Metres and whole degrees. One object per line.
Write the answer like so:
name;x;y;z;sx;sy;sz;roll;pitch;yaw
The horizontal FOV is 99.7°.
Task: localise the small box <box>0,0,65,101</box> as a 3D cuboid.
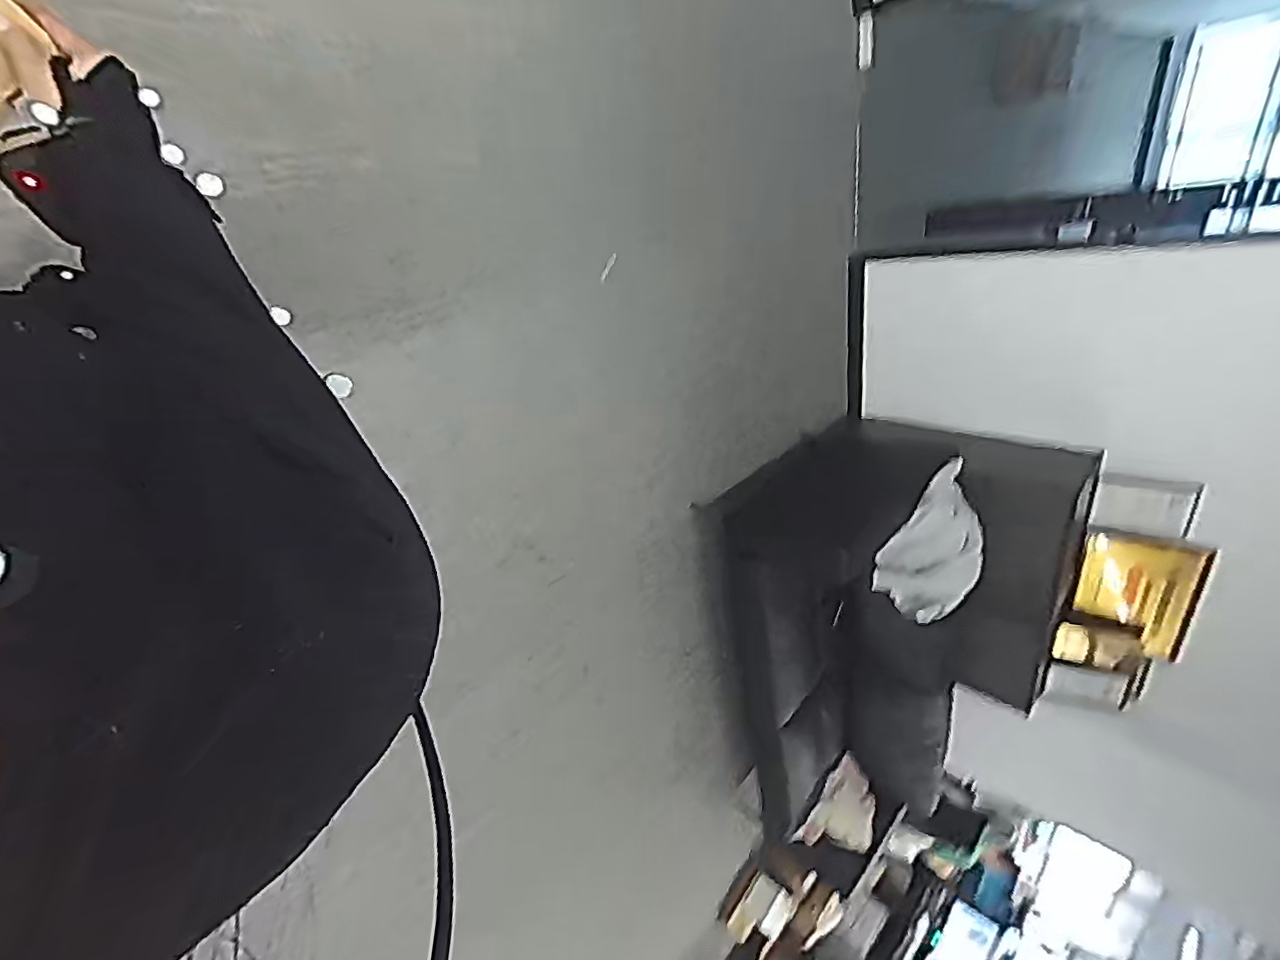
small box;-0.572;-0.367;0.375;0.168;0.176;0.179;-42;151;-4
